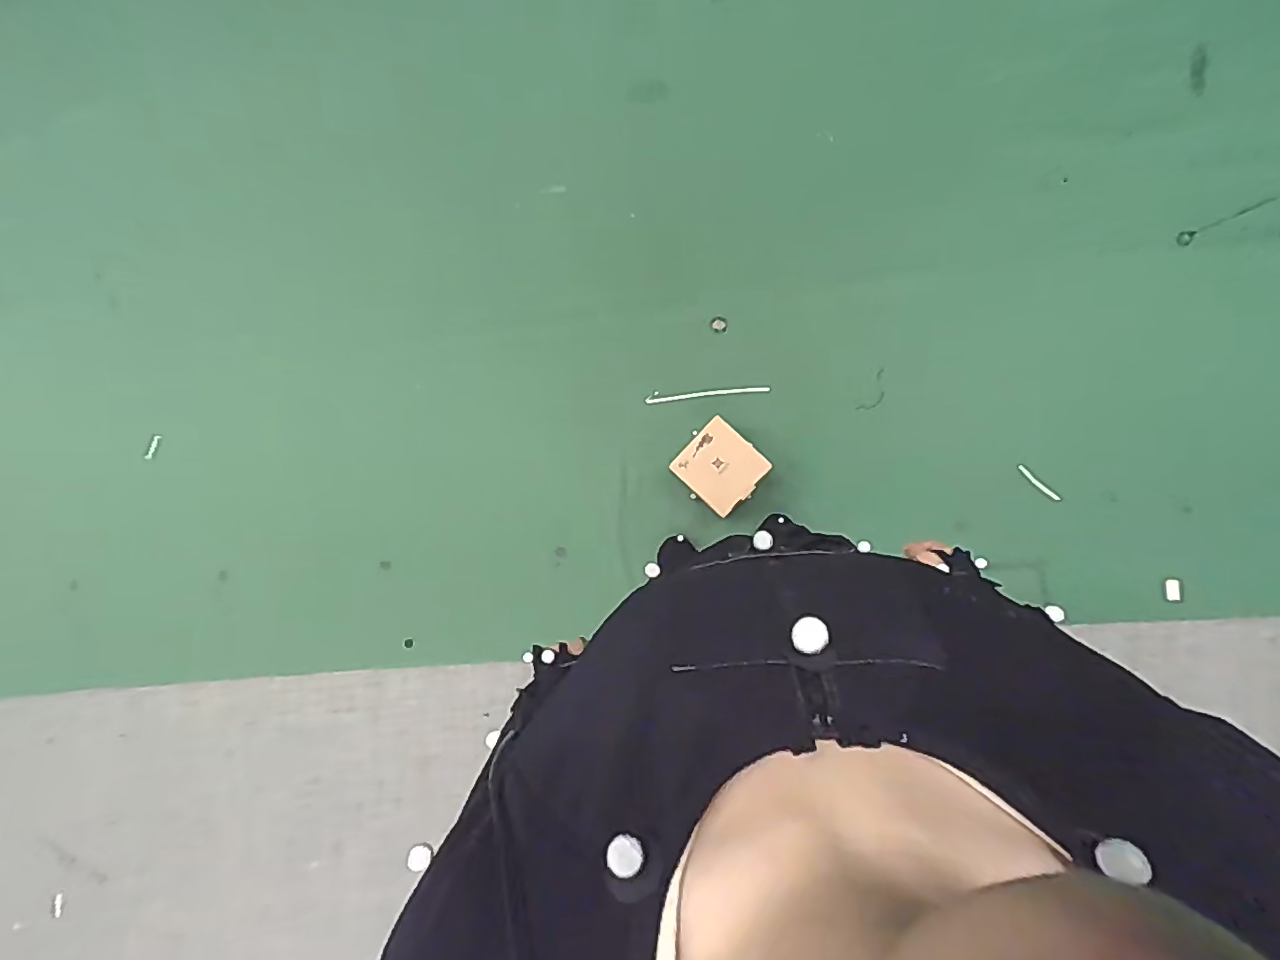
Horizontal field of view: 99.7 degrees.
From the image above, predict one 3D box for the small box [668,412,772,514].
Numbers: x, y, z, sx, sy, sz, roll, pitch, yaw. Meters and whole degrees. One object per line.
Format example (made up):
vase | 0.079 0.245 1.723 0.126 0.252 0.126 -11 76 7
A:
small box | 0.188 -0.039 1.296 0.179 0.176 0.168 43 93 5
